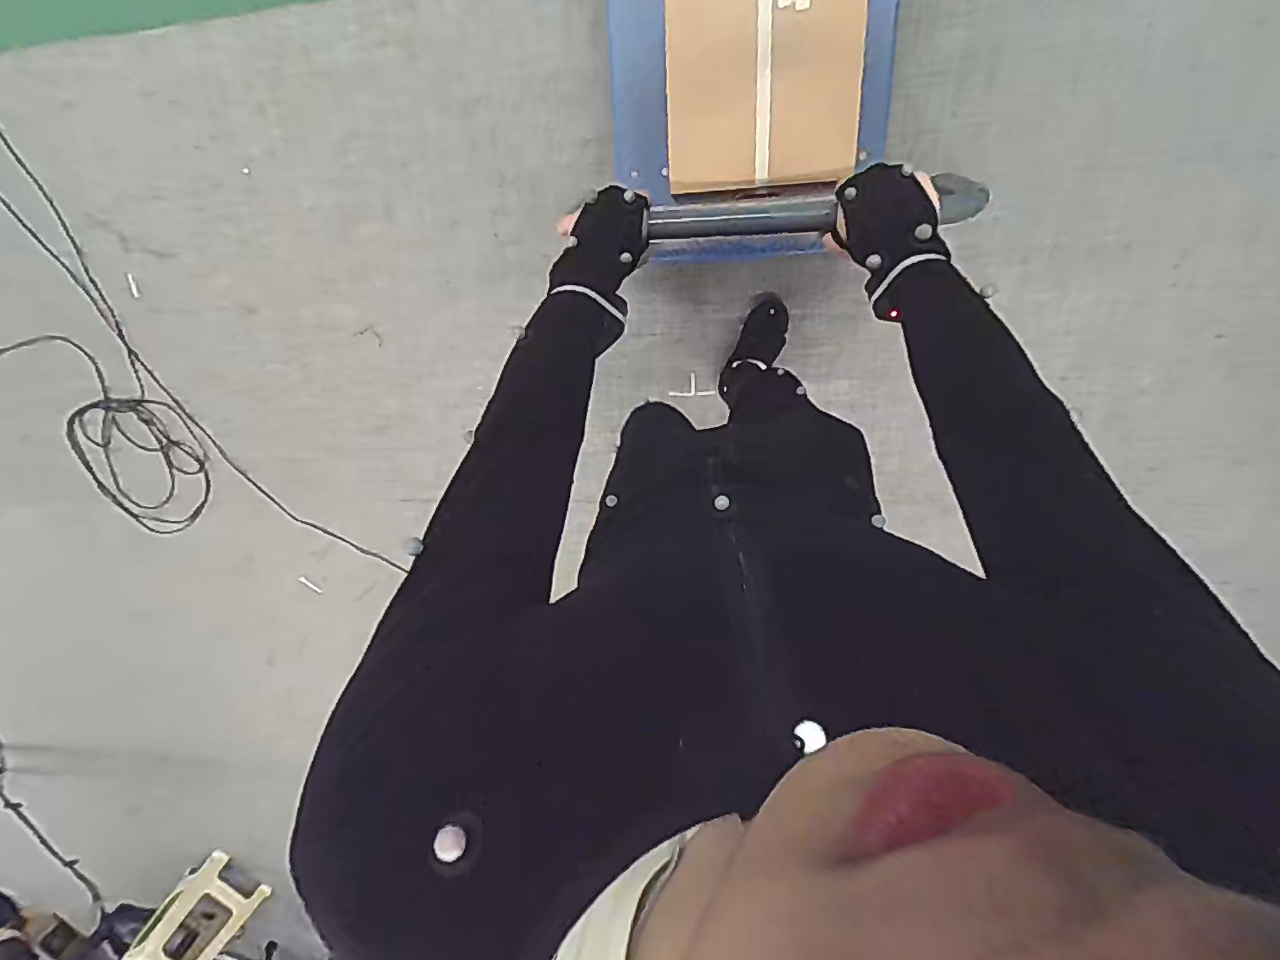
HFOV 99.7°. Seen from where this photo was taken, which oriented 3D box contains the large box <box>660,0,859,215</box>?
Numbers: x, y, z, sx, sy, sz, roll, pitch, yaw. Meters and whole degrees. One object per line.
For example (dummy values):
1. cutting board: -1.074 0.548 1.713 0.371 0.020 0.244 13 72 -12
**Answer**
1. large box: 0.215 -0.748 1.016 0.320 0.320 0.408 0 110 9
